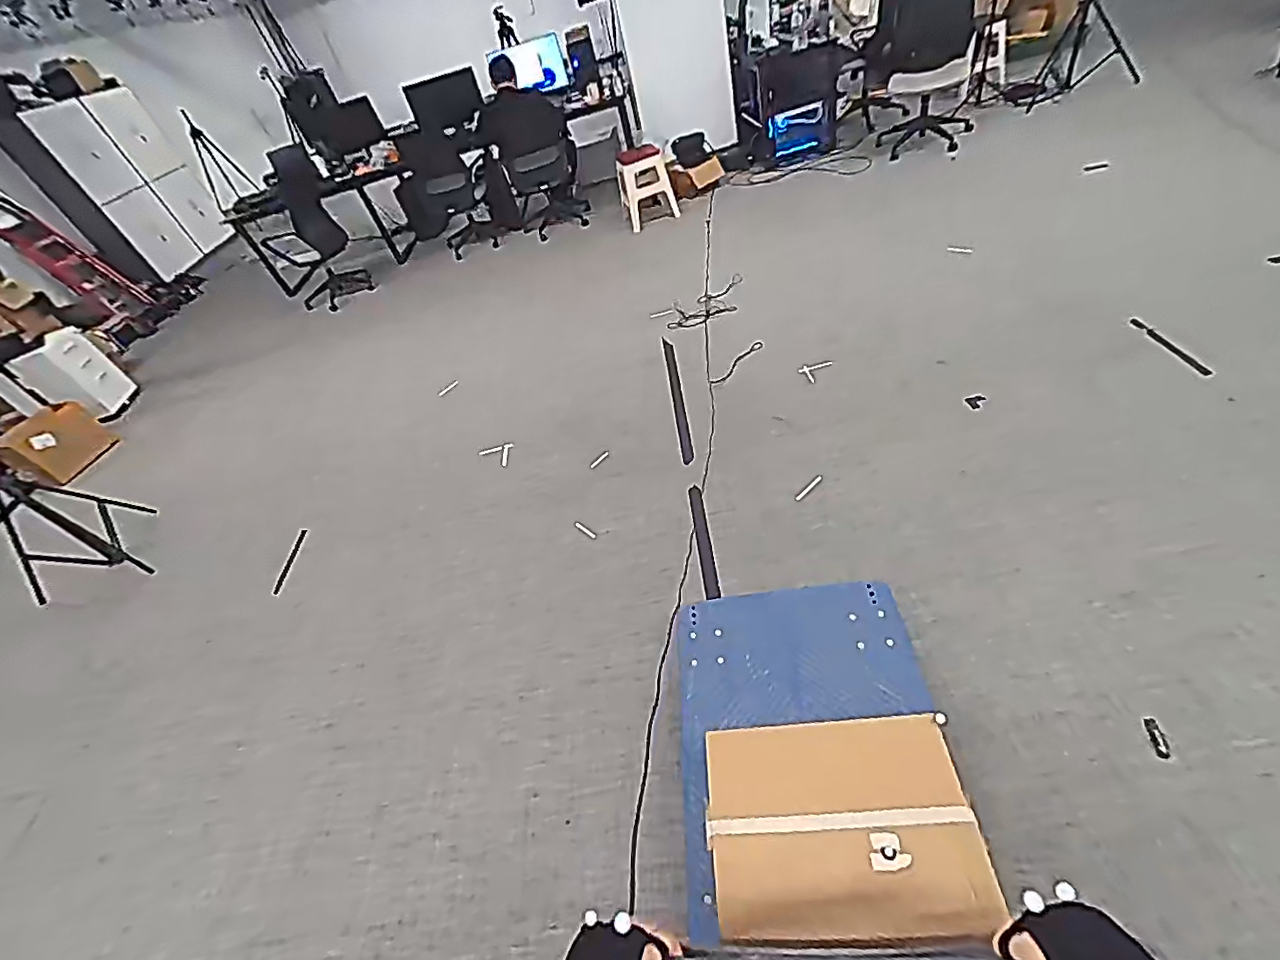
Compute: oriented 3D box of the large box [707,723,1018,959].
[{"bbox_3d":[0.348,0.663,0.956,0.408,0.320,0.320,-9,44,10],"label":"large box"}]
